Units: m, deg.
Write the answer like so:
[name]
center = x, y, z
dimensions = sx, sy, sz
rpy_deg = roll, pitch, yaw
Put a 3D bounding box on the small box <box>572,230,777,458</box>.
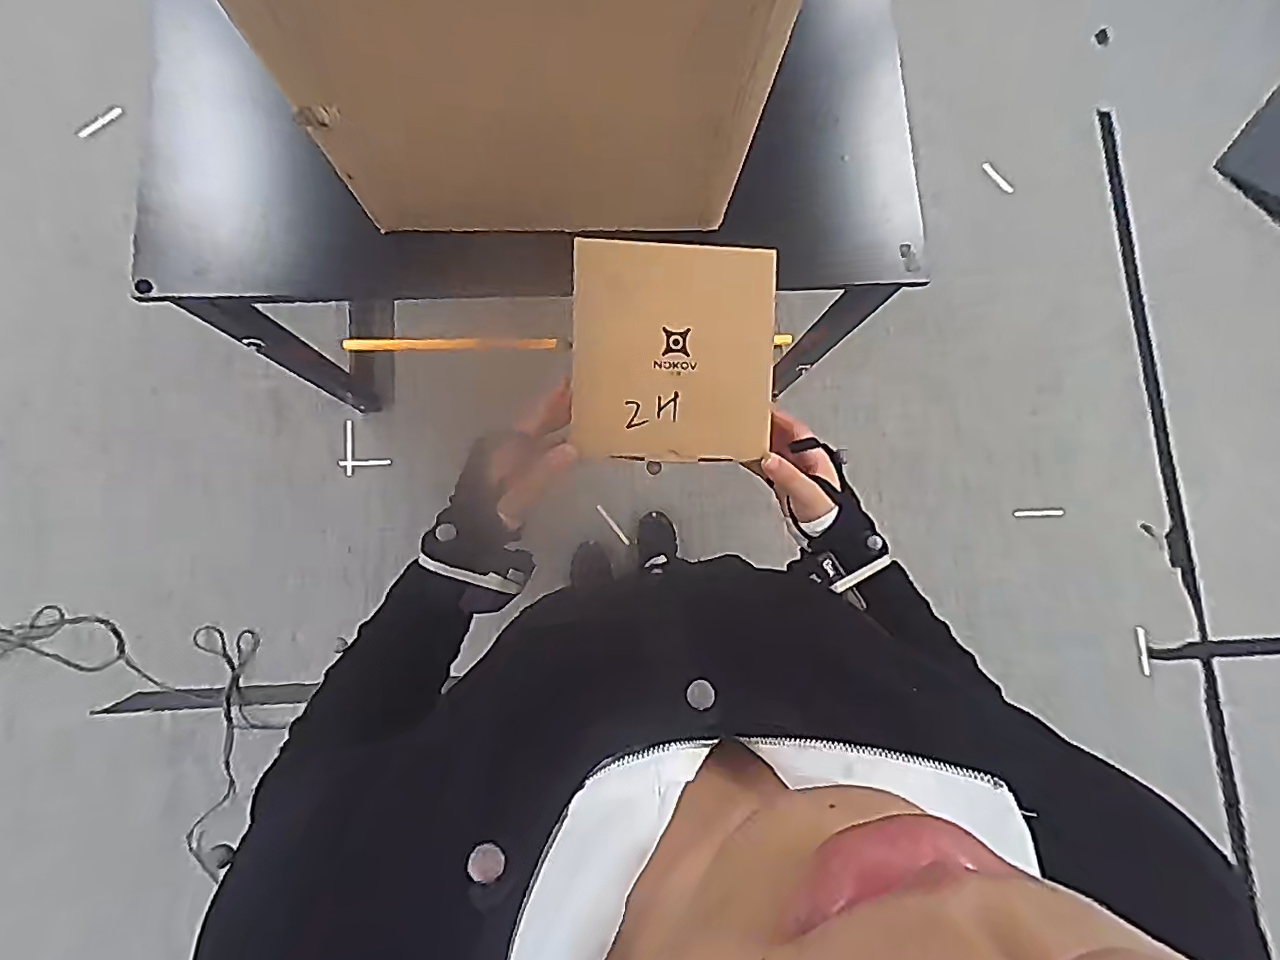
[small box]
center = 0.021, -0.112, 0.515
dimensions = 0.168, 0.176, 0.179
rpy_deg = 1, 92, -5
